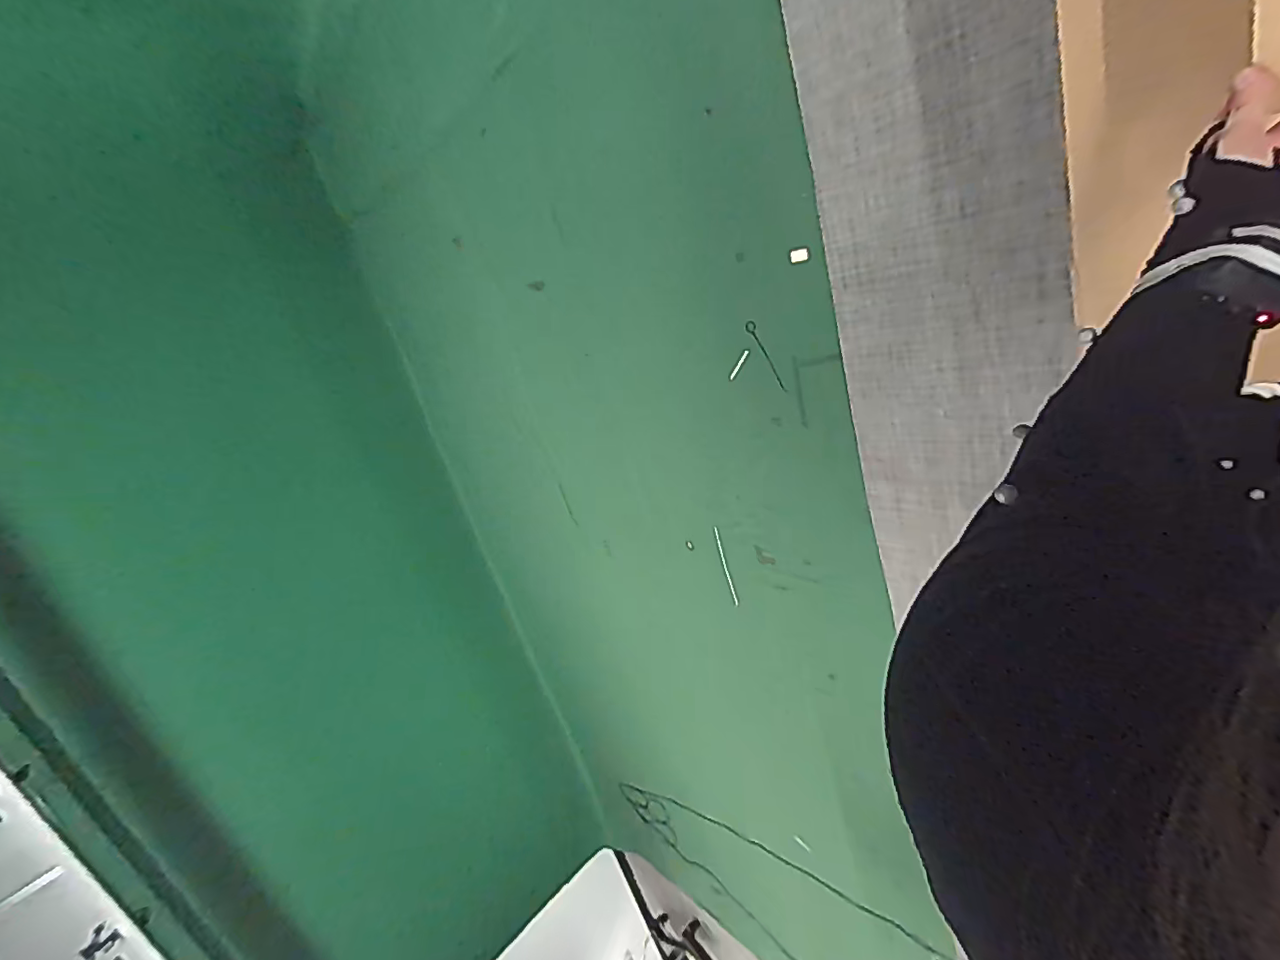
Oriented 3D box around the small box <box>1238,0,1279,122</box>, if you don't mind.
[{"bbox_3d":[0.563,-0.385,0.389,0.168,0.176,0.179,5,116,52],"label":"small box"}]
